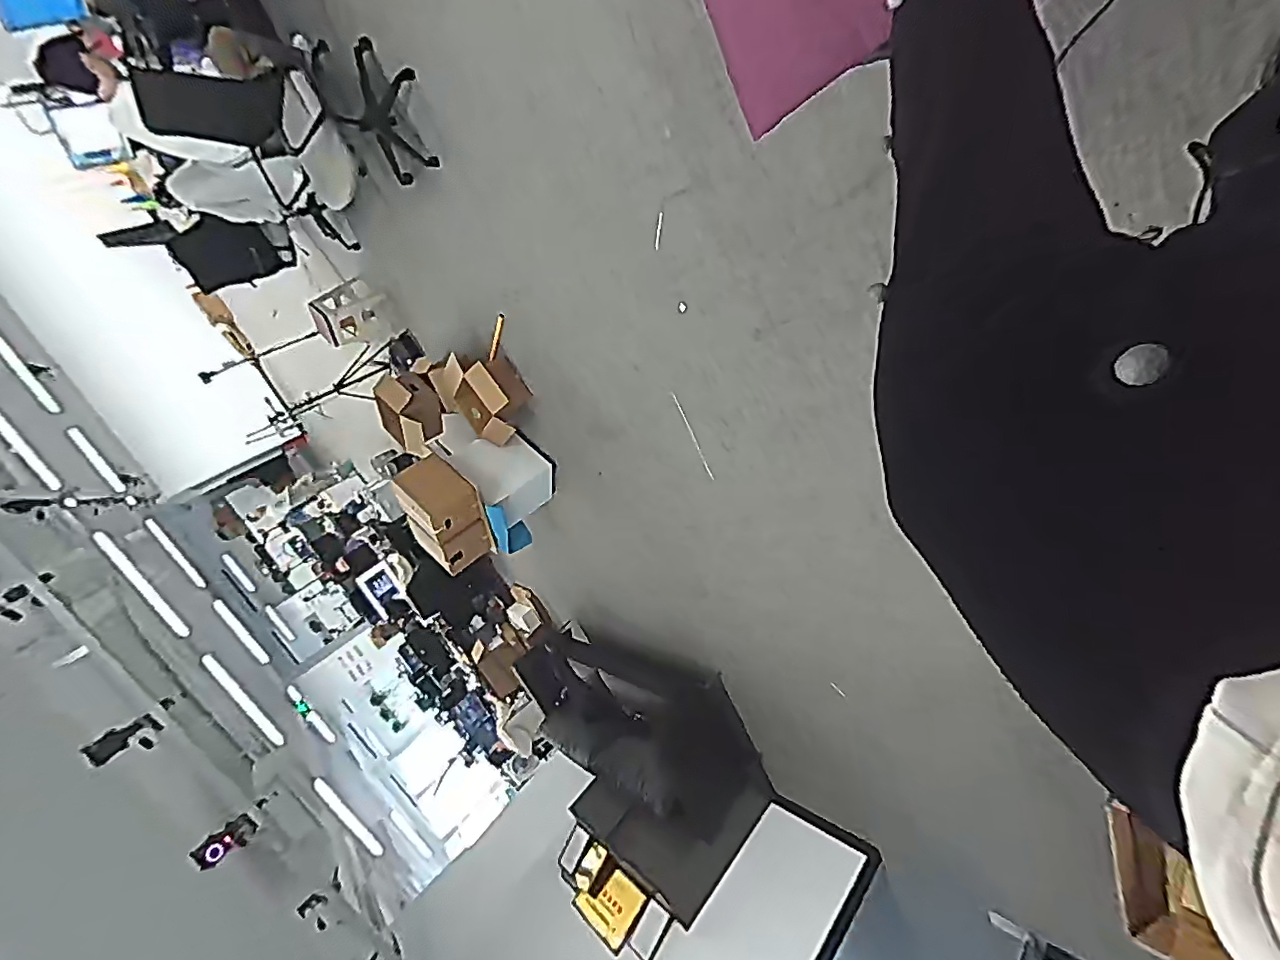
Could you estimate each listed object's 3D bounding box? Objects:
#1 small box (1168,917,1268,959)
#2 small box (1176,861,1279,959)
[{"bbox_3d":[1.365,1.198,1.268,0.168,0.176,0.179,1,120,52],"label":"small box"},{"bbox_3d":[1.476,1.119,1.356,0.168,0.176,0.179,1,121,51],"label":"small box"}]
